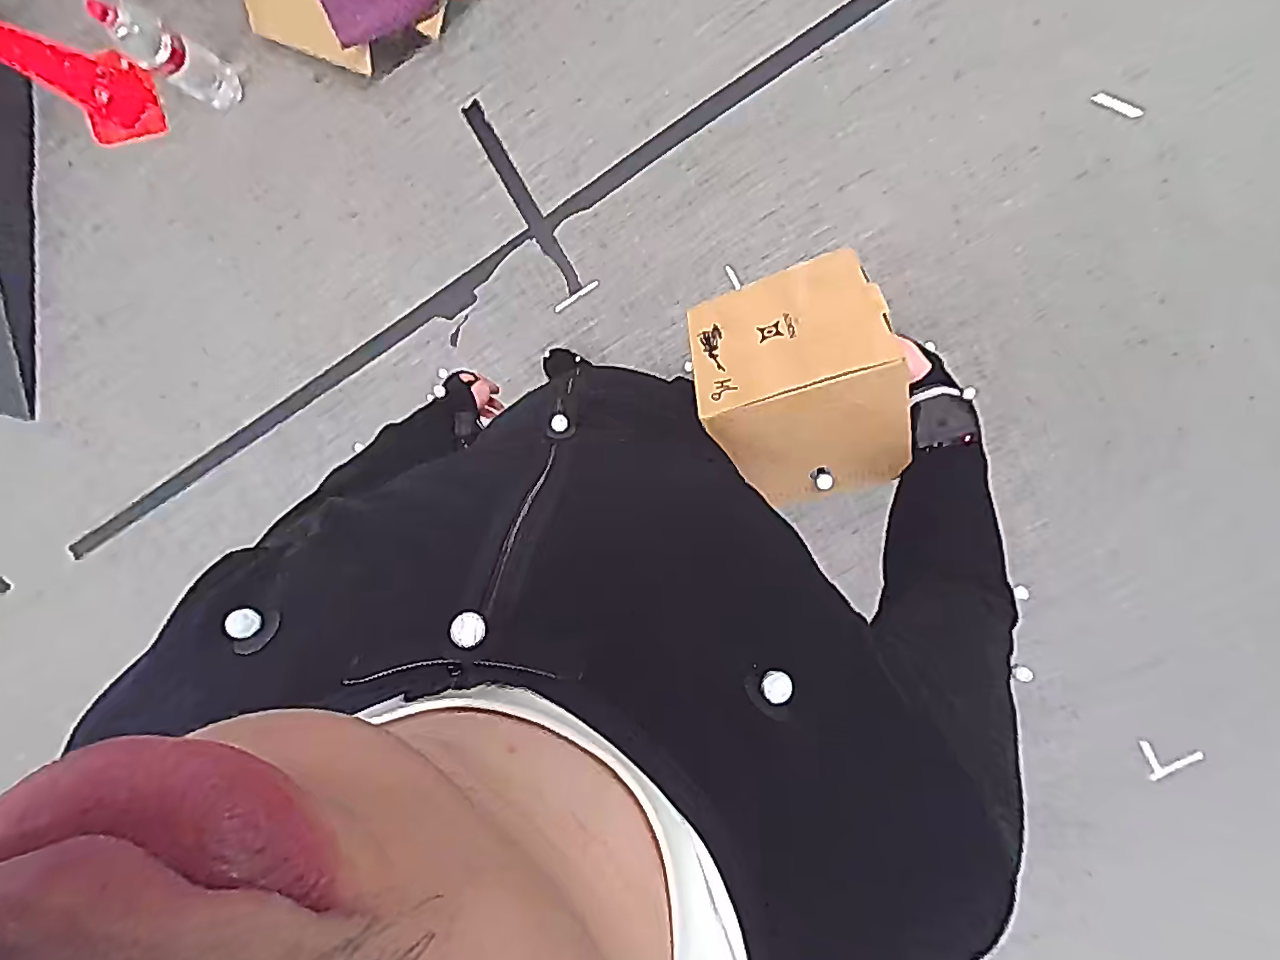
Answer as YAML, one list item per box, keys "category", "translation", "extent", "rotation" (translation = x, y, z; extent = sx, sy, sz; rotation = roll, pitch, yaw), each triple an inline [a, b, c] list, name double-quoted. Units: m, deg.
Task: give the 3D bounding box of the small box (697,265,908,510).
- category: "small box"
  translation: [0.173, -0.090, 0.585]
  extent: [0.179, 0.168, 0.176]
  rotation: [-15, 139, 17]
